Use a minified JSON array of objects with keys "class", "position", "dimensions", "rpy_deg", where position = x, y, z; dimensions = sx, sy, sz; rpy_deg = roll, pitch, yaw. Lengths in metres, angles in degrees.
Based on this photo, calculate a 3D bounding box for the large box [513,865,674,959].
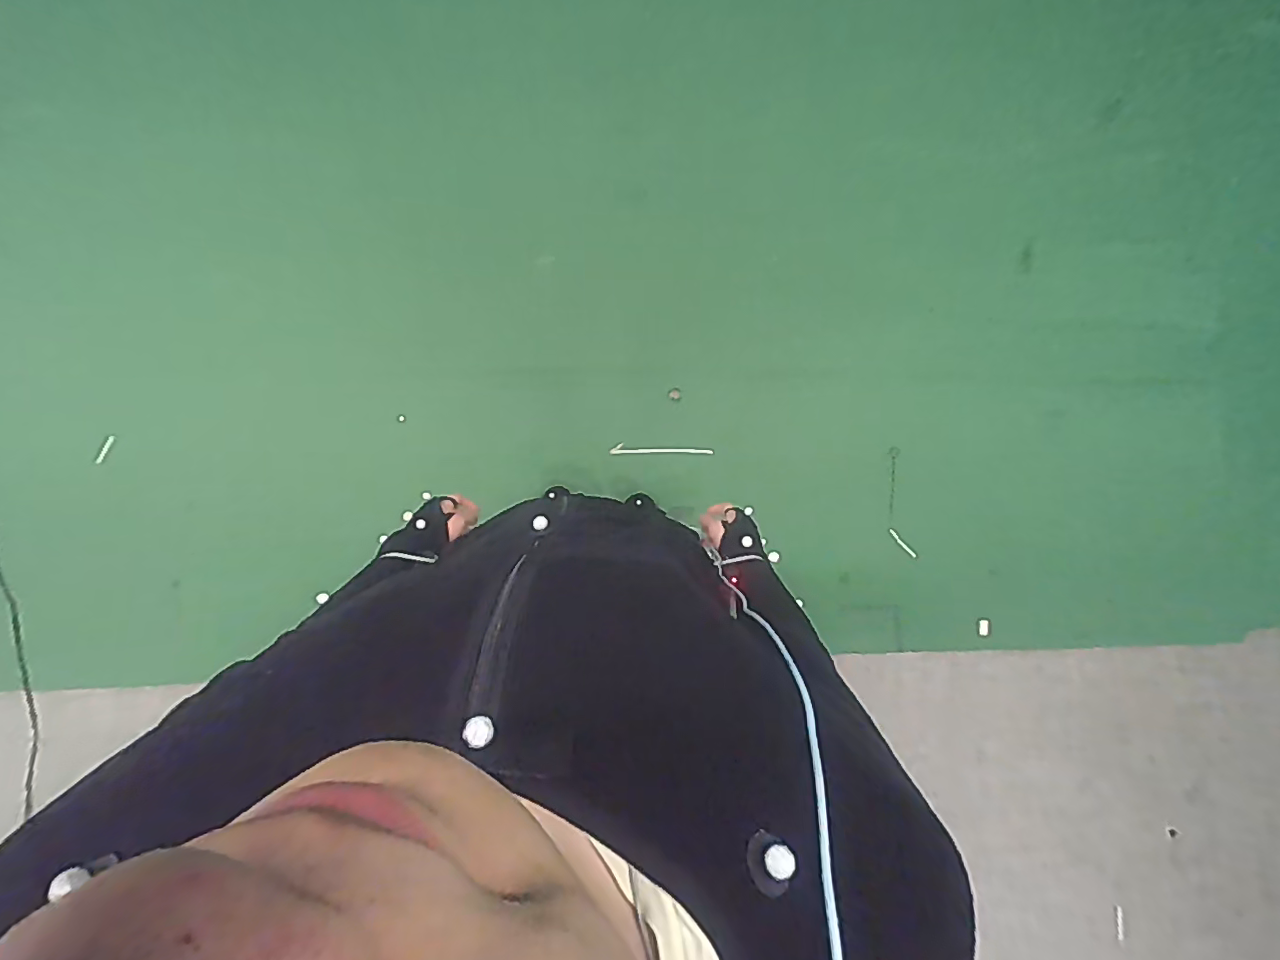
[{"class":"large box","position":[-0.119,1.322,1.473],"dimensions":[0.408,0.320,0.320],"rpy_deg":[-3,89,-4]}]
